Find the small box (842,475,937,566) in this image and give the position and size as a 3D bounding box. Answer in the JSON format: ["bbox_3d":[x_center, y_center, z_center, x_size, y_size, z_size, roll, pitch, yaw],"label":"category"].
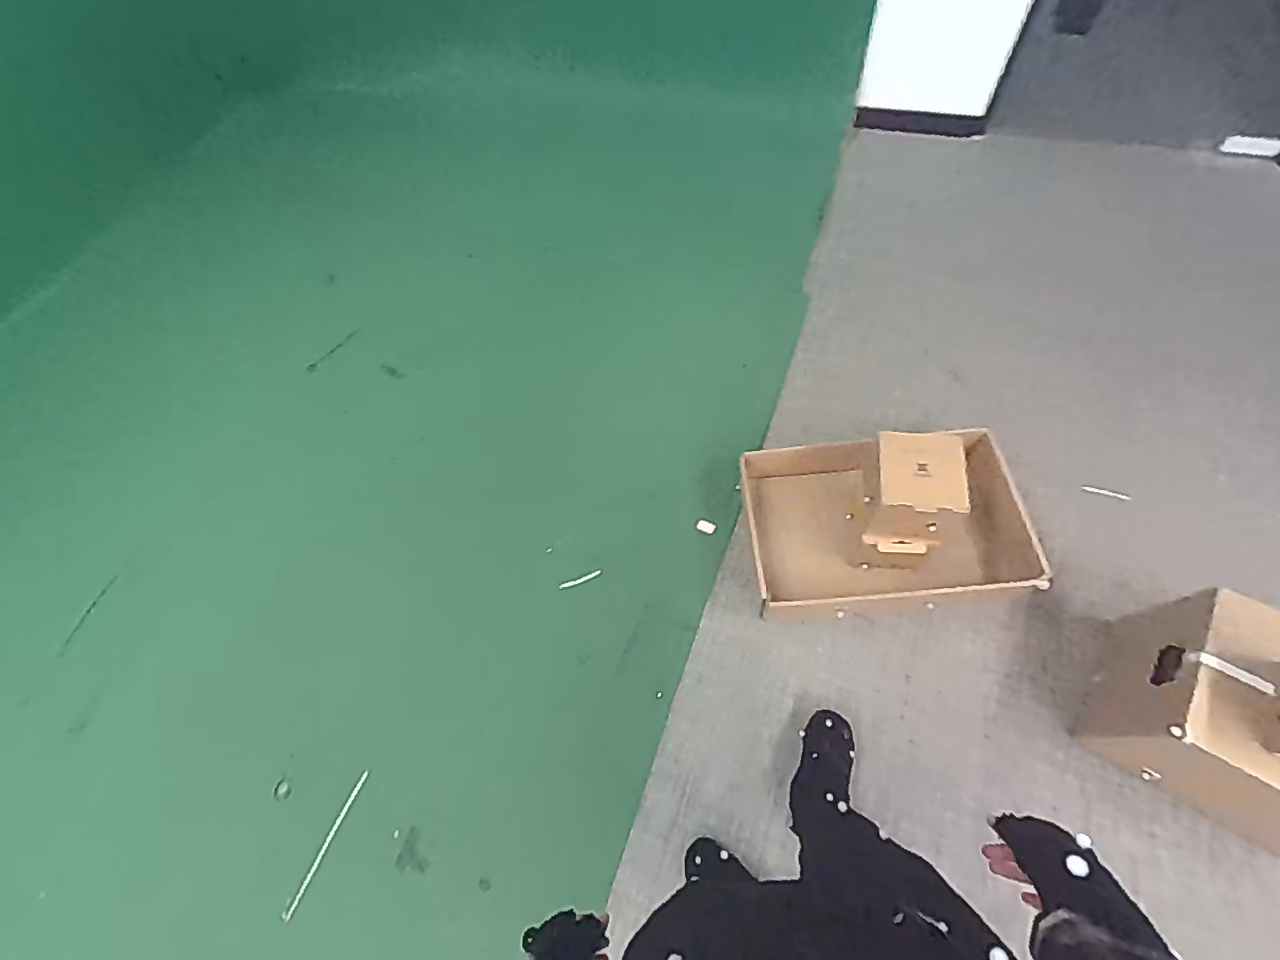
[{"bbox_3d":[0.597,0.102,1.314,0.168,0.176,0.179,0,62,9],"label":"small box"}]

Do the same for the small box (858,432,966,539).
[{"bbox_3d":[0.581,0.016,1.177,0.168,0.176,0.179,4,62,10],"label":"small box"}]

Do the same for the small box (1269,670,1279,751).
[{"bbox_3d":[1.123,0.367,0.812,0.179,0.176,0.168,23,69,18],"label":"small box"}]
